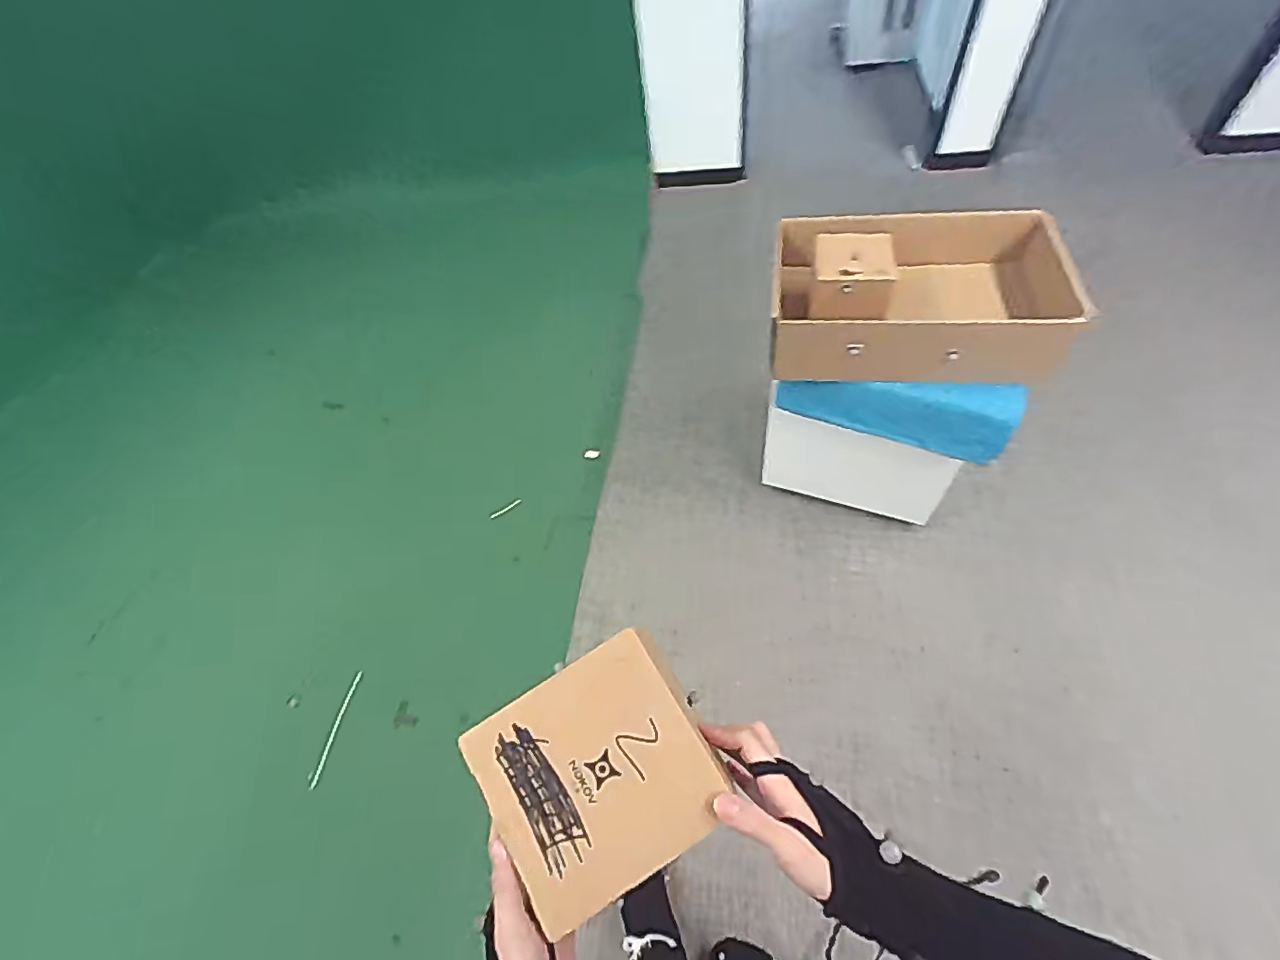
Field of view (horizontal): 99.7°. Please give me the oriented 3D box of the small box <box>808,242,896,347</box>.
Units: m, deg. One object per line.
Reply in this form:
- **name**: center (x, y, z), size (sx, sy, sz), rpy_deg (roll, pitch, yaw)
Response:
- **small box**: center (0.494, -0.440, 1.285), size (0.168, 0.176, 0.179), rpy_deg (3, 54, 11)
